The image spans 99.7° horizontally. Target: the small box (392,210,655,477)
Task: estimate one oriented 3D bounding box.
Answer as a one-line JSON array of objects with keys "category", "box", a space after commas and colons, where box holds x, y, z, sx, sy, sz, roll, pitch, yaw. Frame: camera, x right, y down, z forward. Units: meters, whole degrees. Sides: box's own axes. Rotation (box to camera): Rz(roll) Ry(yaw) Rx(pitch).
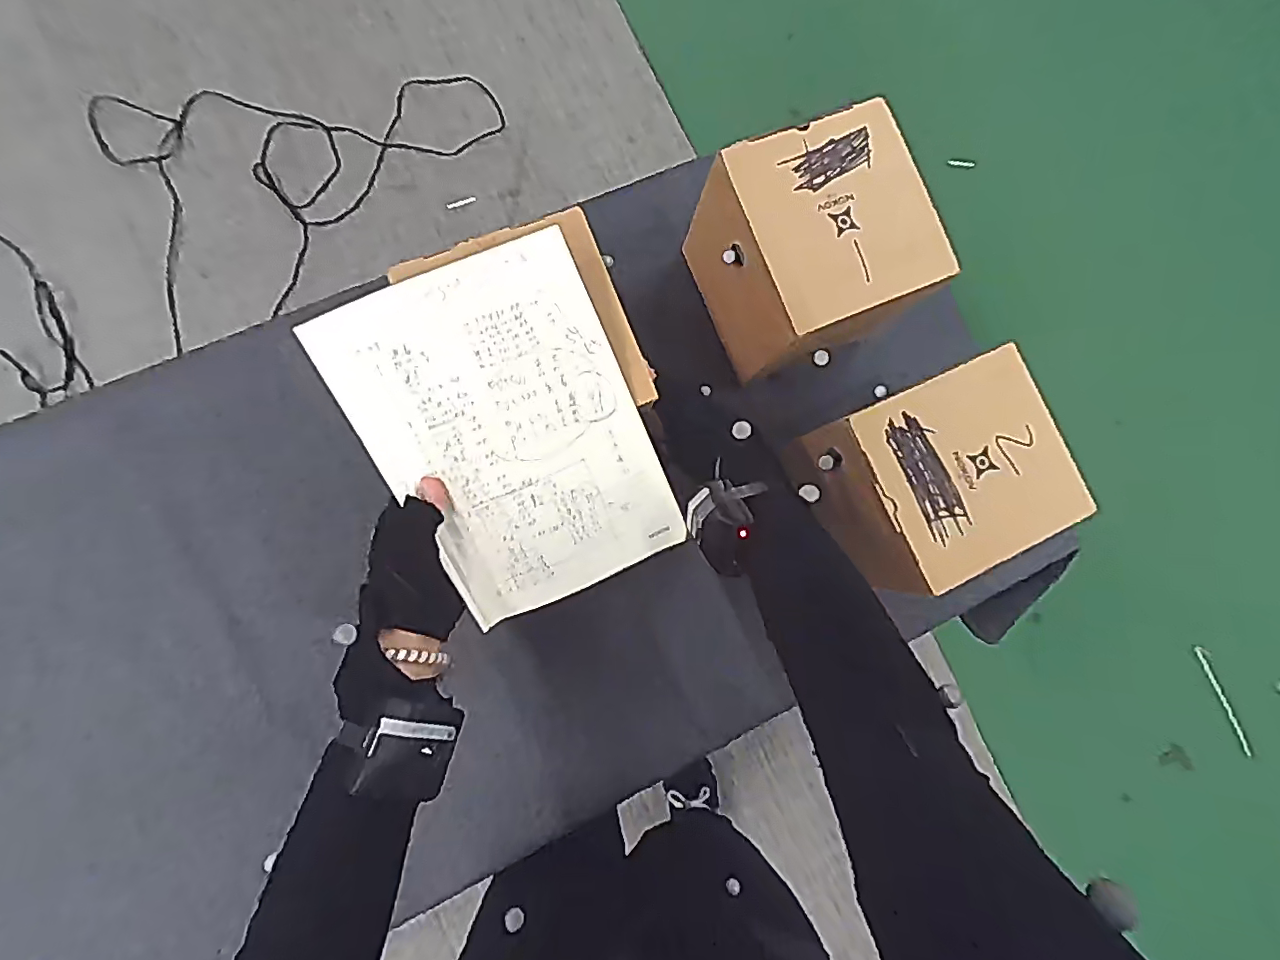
[{"category": "small box", "box": [-0.099, -0.109, 0.514, 0.168, 0.176, 0.179, -22, 87, -7]}]
